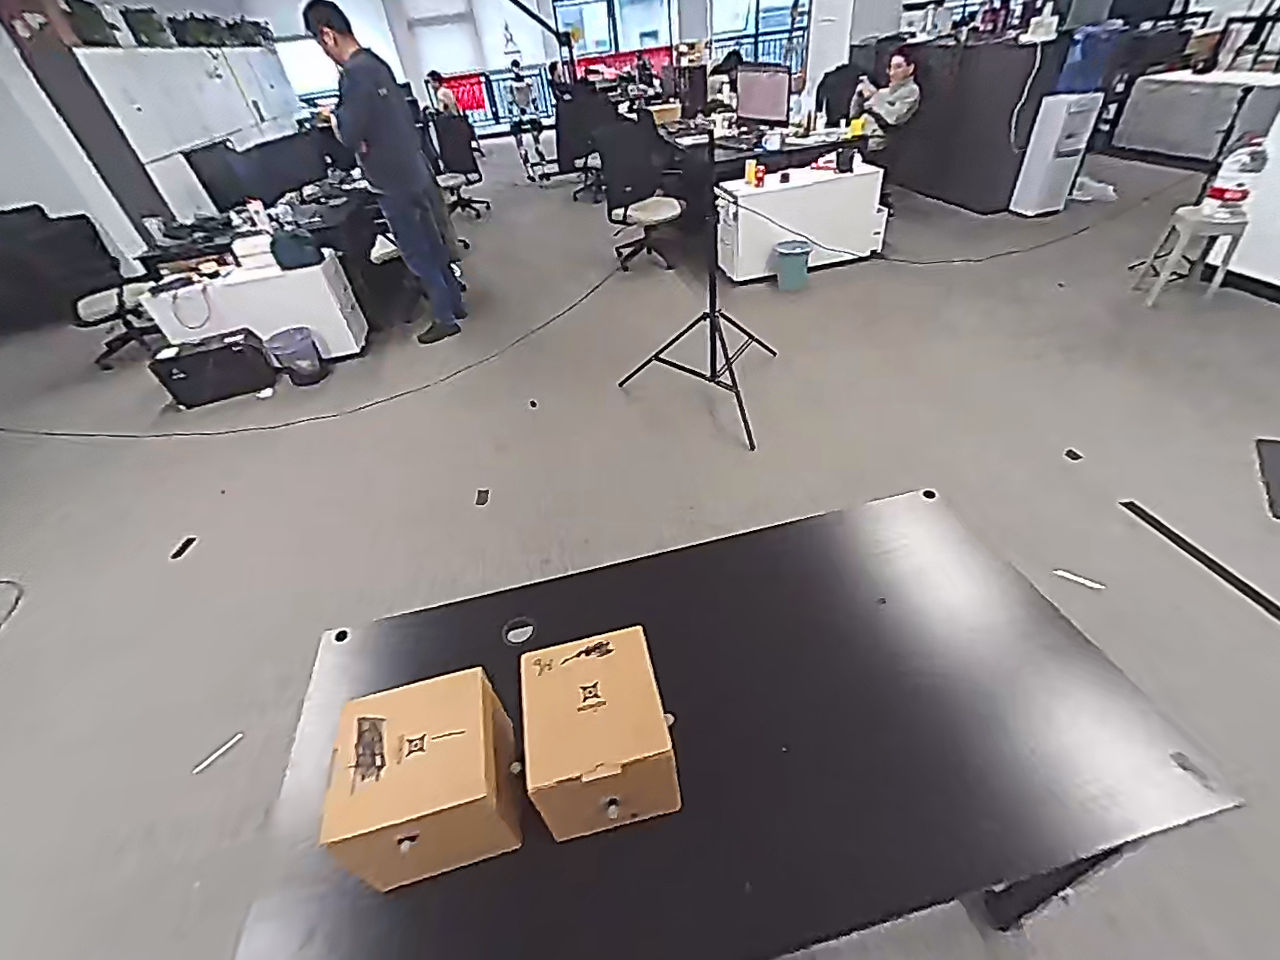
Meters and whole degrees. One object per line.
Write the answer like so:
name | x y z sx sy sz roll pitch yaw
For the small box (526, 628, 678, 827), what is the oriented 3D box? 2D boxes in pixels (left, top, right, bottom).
small box | -0.049 0.331 0.716 0.168 0.176 0.179 -11 40 -6

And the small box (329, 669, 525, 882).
small box | -0.258 0.379 0.694 0.179 0.176 0.168 -13 40 -8
